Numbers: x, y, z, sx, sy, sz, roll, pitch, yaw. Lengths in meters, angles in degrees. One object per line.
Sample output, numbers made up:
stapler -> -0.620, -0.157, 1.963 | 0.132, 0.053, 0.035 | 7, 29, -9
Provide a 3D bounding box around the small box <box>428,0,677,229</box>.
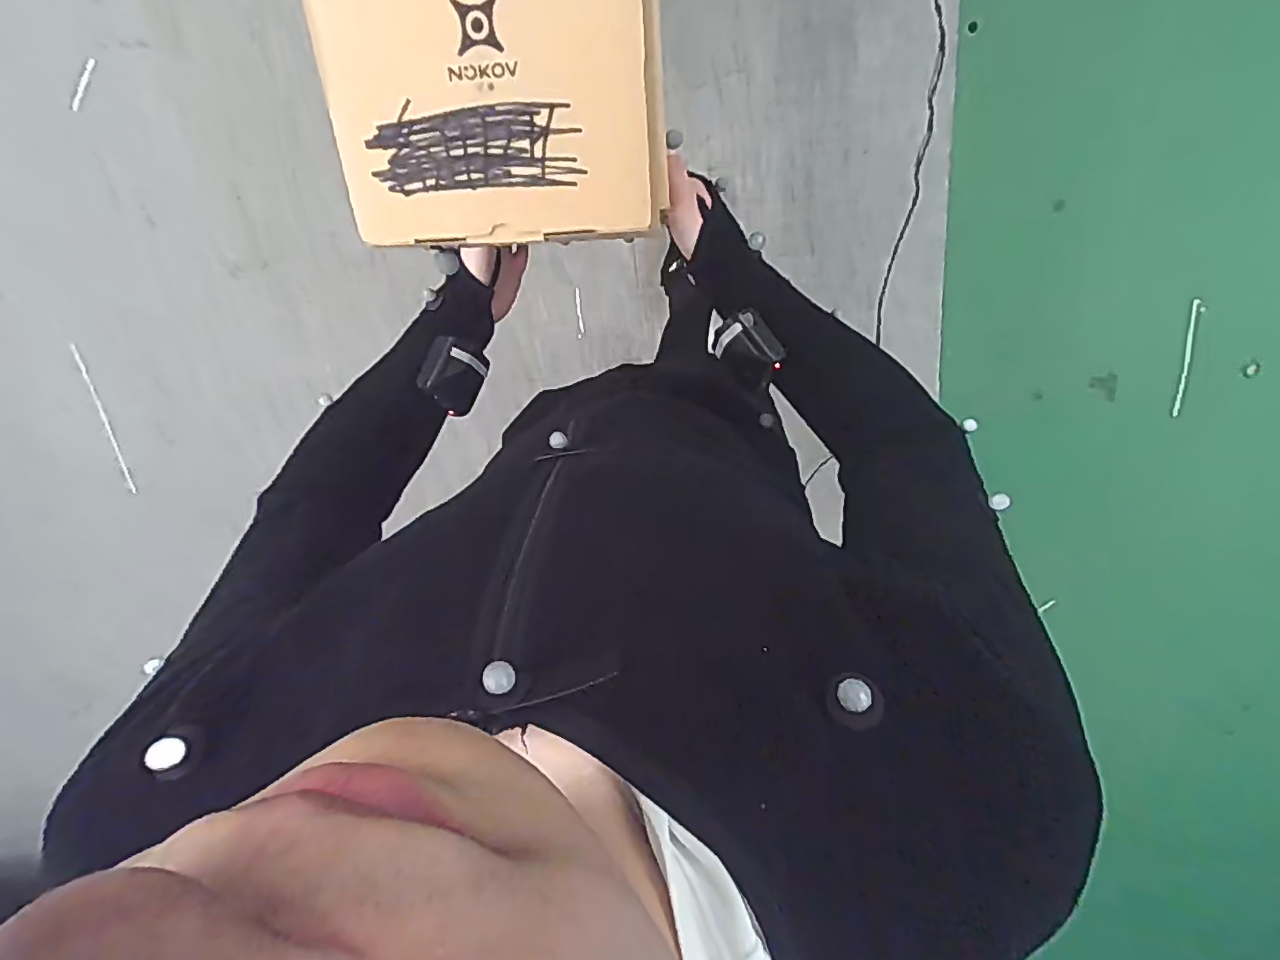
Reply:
small box -> -0.060, -0.324, 0.488 | 0.179, 0.176, 0.168 | -3, 114, 5
